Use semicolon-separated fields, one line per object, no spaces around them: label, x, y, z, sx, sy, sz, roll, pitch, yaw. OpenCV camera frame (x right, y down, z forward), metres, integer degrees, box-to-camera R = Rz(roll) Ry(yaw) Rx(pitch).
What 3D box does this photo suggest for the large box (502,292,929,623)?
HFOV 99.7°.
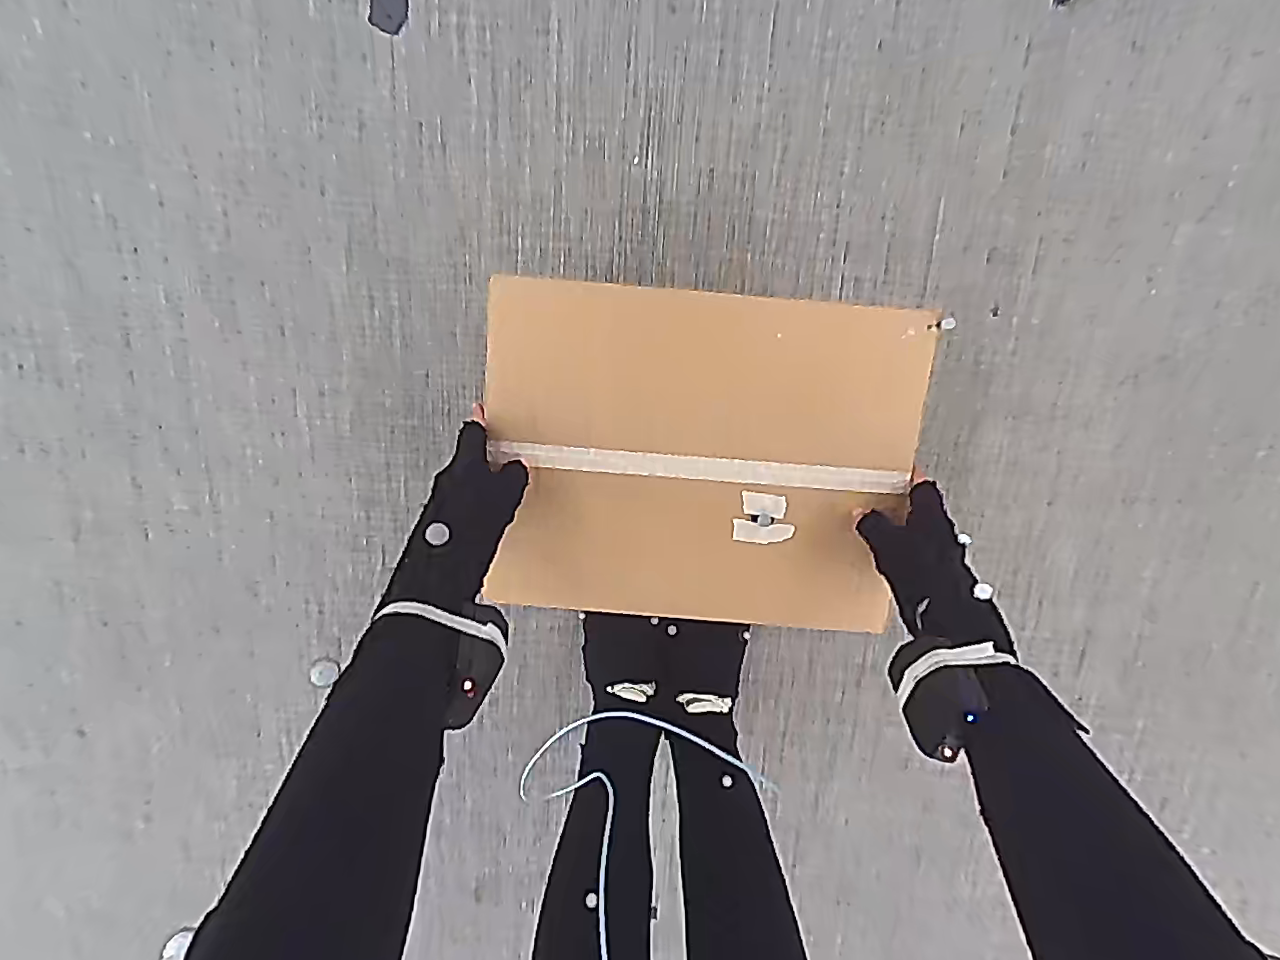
large box;0.063;-0.040;0.674;0.408;0.320;0.320;4;102;0
